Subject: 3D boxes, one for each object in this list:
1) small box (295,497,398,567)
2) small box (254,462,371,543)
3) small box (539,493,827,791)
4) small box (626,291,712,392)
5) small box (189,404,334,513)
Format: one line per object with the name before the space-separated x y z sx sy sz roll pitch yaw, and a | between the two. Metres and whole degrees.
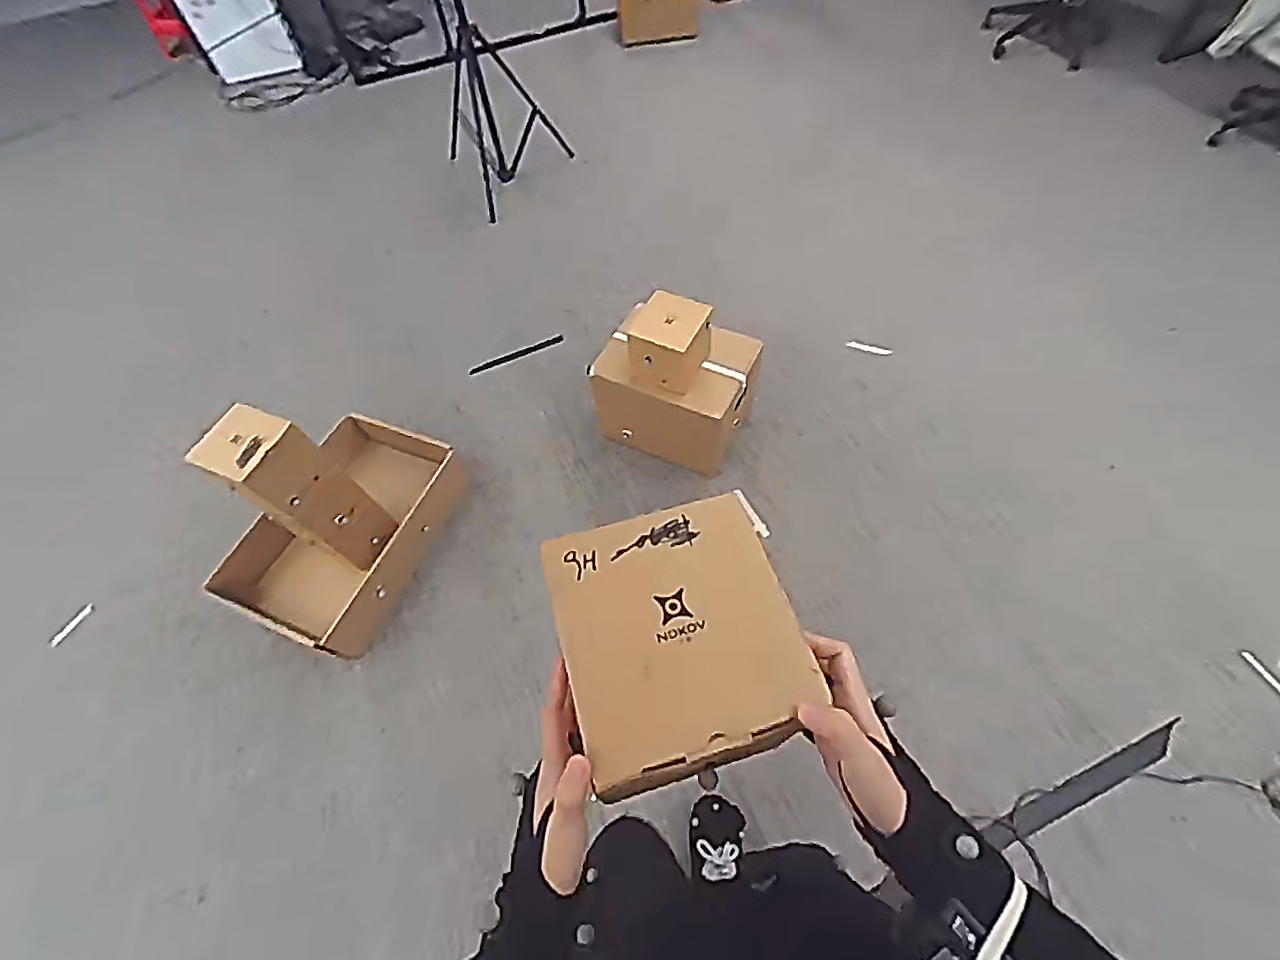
small box | -0.827 0.124 1.521 0.179 0.176 0.168 21 64 16
small box | -0.838 0.040 1.383 0.179 0.176 0.168 20 64 14
small box | 0.023 0.141 0.453 0.168 0.176 0.179 -14 58 -11
small box | 0.081 -0.363 1.440 0.168 0.176 0.179 23 64 16
small box | -0.855 -0.043 1.242 0.179 0.176 0.168 18 63 16
